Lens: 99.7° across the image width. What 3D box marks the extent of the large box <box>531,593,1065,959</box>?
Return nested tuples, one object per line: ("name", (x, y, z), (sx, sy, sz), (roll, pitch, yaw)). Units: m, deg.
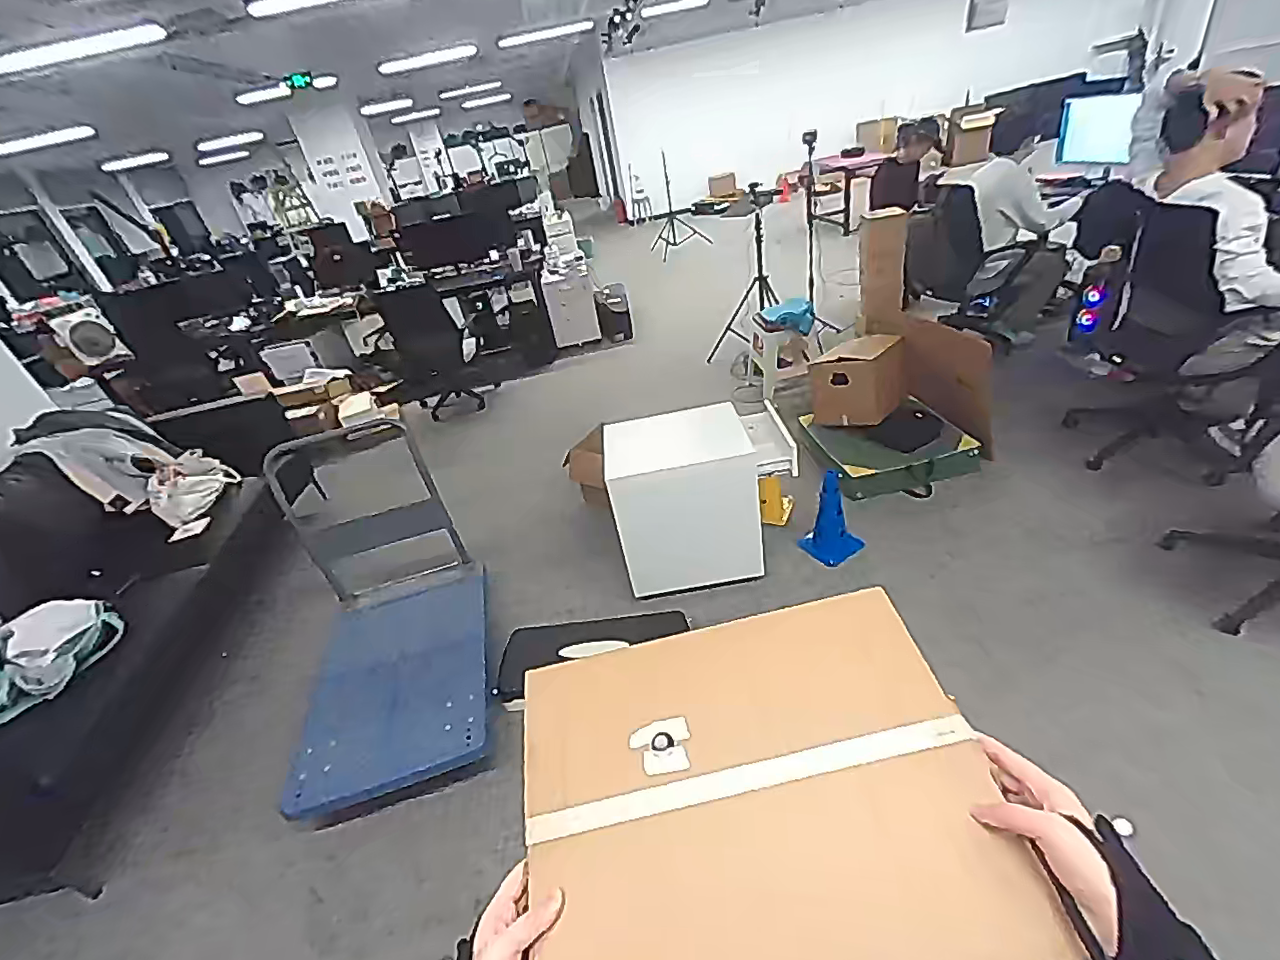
("large box", (0.127, 0.381, 0.604), (0.408, 0.320, 0.320), (-16, 45, 2))
